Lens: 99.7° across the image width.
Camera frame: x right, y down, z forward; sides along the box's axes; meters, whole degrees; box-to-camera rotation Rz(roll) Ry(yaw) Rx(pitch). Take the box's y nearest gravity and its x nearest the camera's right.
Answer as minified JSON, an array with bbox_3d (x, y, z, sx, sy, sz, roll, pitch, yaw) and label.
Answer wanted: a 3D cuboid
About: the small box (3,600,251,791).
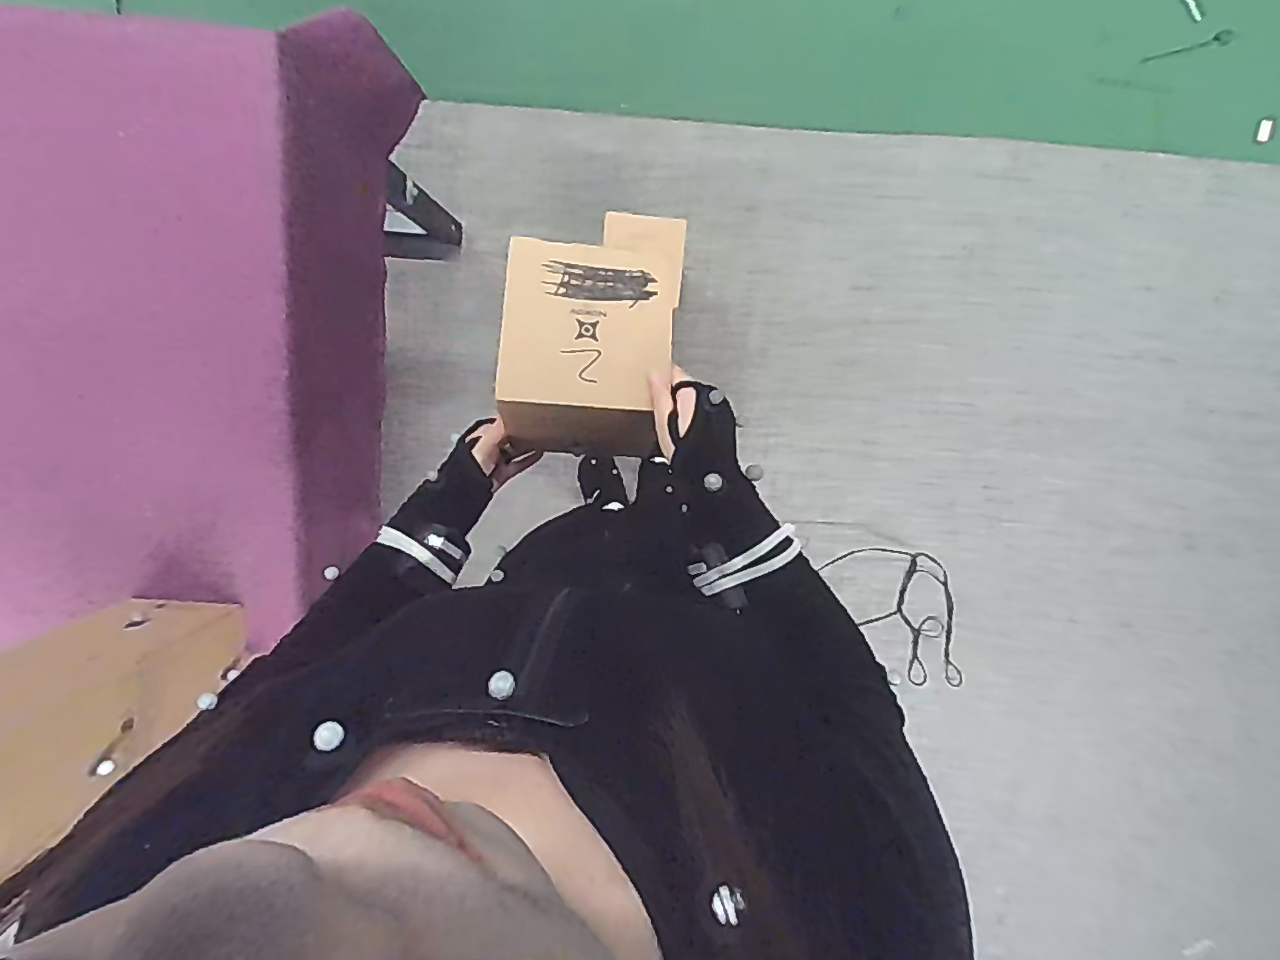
[{"bbox_3d":[-0.649,0.268,0.708,0.168,0.176,0.179,3,99,0],"label":"small box"}]

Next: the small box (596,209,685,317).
[{"bbox_3d":[-0.001,-0.456,1.163,0.168,0.176,0.179,6,98,-2],"label":"small box"}]

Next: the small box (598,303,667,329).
[{"bbox_3d":[-0.004,-0.474,1.325,0.168,0.176,0.179,8,99,-2],"label":"small box"}]
